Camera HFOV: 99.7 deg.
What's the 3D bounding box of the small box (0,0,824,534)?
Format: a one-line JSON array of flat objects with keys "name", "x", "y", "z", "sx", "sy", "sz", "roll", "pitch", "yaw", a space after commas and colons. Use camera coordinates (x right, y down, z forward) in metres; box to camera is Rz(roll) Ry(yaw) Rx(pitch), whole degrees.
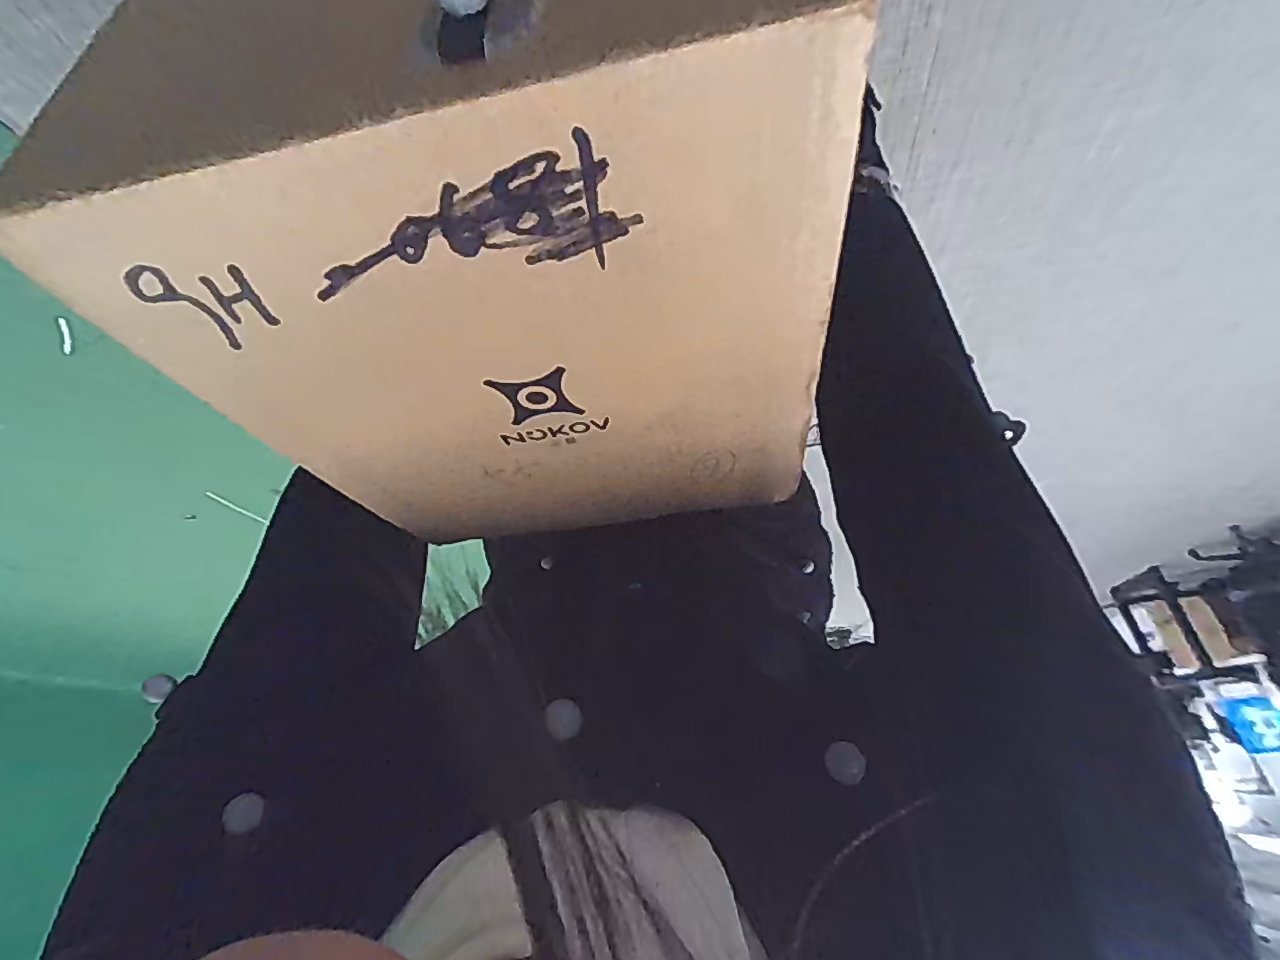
[{"name": "small box", "x": -0.042, "y": -0.094, "z": 0.205, "sx": 0.168, "sy": 0.176, "sz": 0.179, "roll": -8, "pitch": 154, "yaw": 7}]
